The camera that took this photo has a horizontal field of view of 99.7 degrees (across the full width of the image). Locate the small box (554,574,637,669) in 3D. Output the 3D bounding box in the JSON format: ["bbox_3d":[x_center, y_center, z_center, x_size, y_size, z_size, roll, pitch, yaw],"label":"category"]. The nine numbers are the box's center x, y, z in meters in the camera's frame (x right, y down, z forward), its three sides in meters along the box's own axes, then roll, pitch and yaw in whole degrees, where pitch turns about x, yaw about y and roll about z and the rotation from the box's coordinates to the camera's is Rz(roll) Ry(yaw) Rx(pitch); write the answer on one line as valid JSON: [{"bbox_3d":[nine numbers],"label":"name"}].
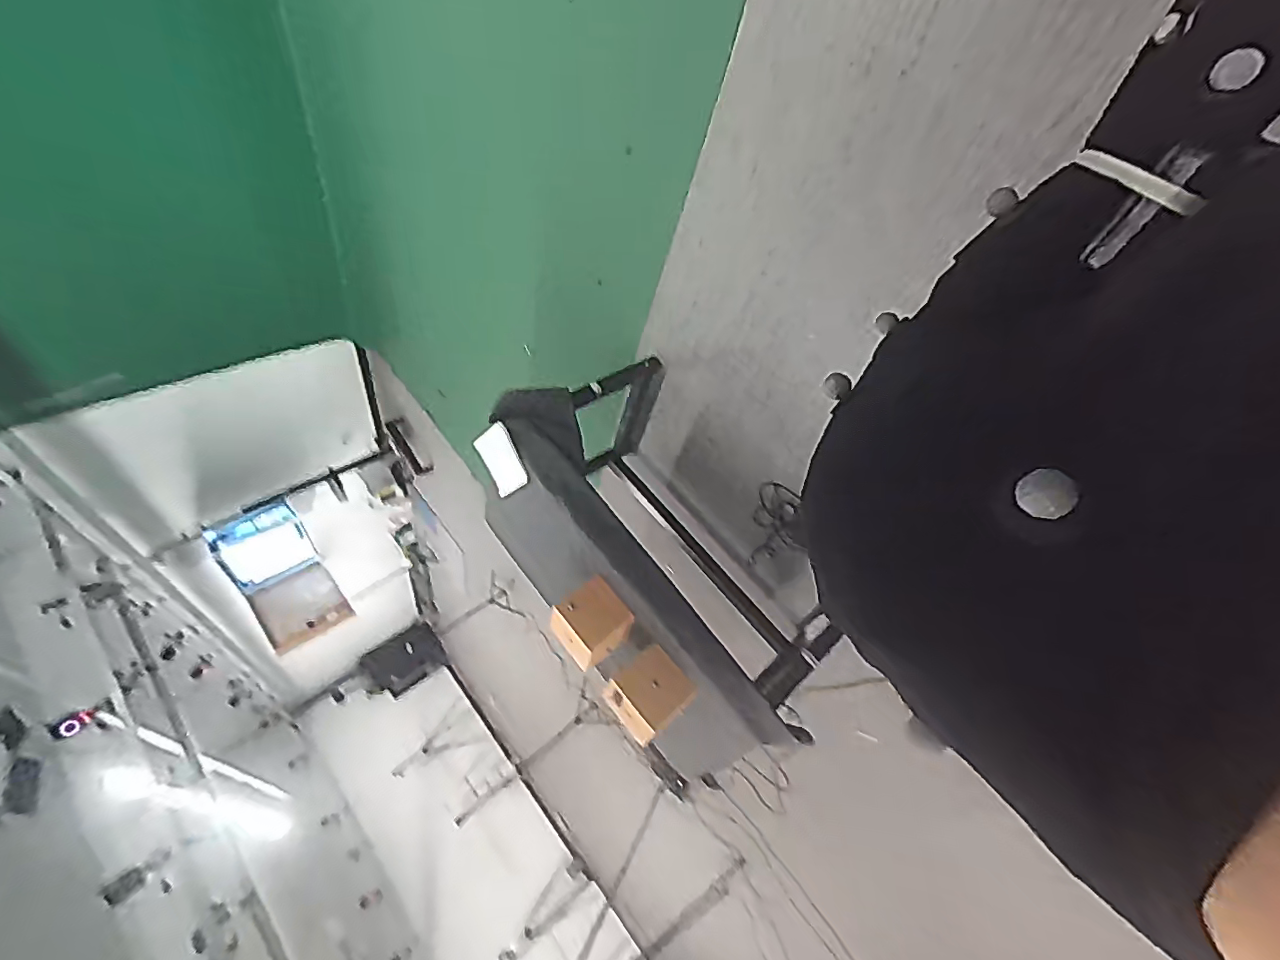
[{"bbox_3d":[-0.131,0.411,1.580,0.179,0.176,0.168,46,146,22],"label":"small box"}]
